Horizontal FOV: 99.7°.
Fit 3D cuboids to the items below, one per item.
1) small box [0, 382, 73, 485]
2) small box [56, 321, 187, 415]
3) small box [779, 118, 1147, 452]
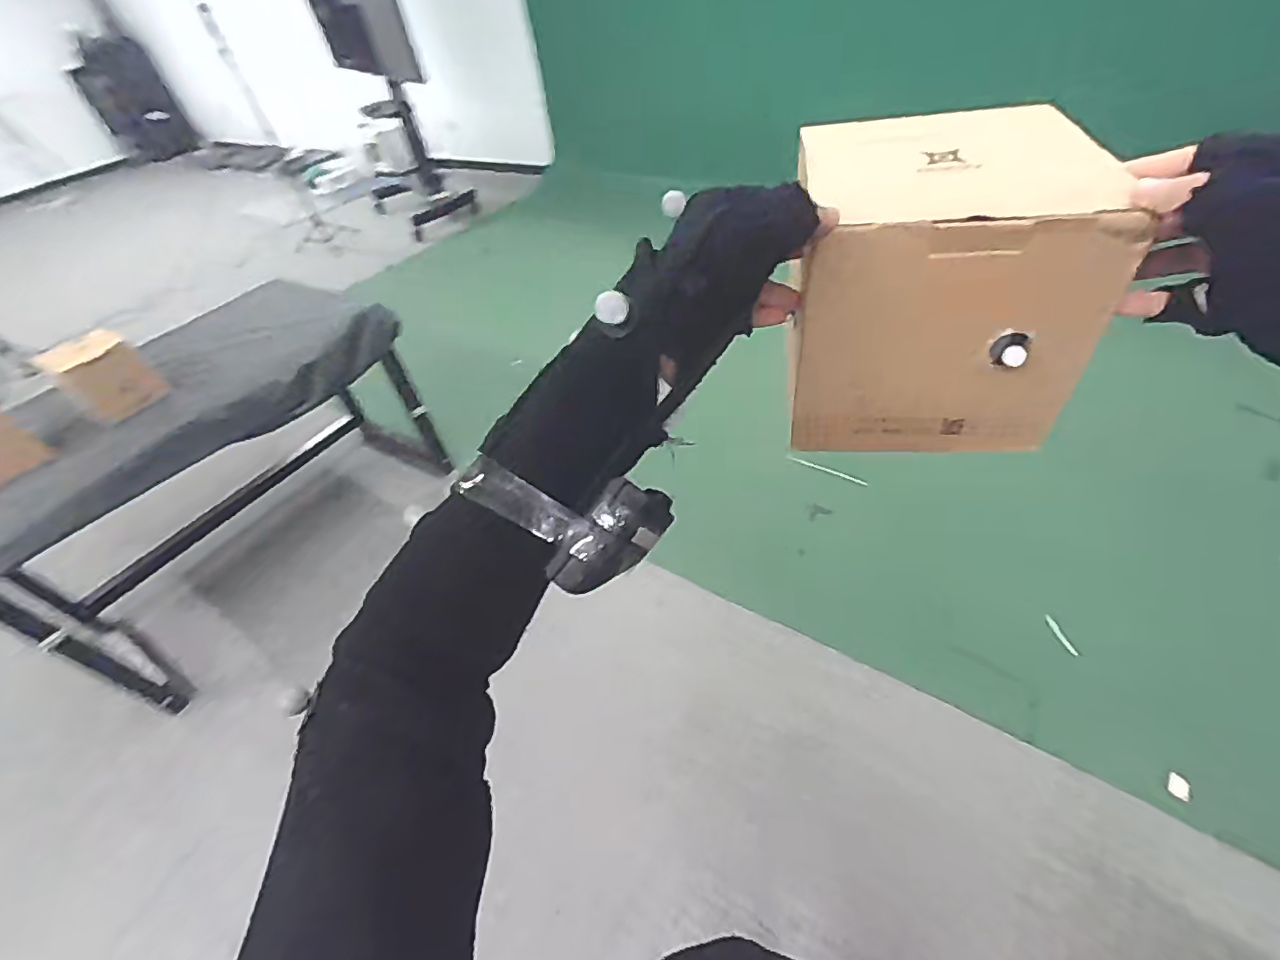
[{"bbox_3d":[-1.546,-0.111,1.297,0.168,0.176,0.179,20,51,26],"label":"small box"},{"bbox_3d":[-1.382,-0.297,1.453,0.179,0.176,0.168,22,53,27],"label":"small box"},{"bbox_3d":[0.193,-0.135,0.393,0.168,0.176,0.179,2,47,10],"label":"small box"}]
